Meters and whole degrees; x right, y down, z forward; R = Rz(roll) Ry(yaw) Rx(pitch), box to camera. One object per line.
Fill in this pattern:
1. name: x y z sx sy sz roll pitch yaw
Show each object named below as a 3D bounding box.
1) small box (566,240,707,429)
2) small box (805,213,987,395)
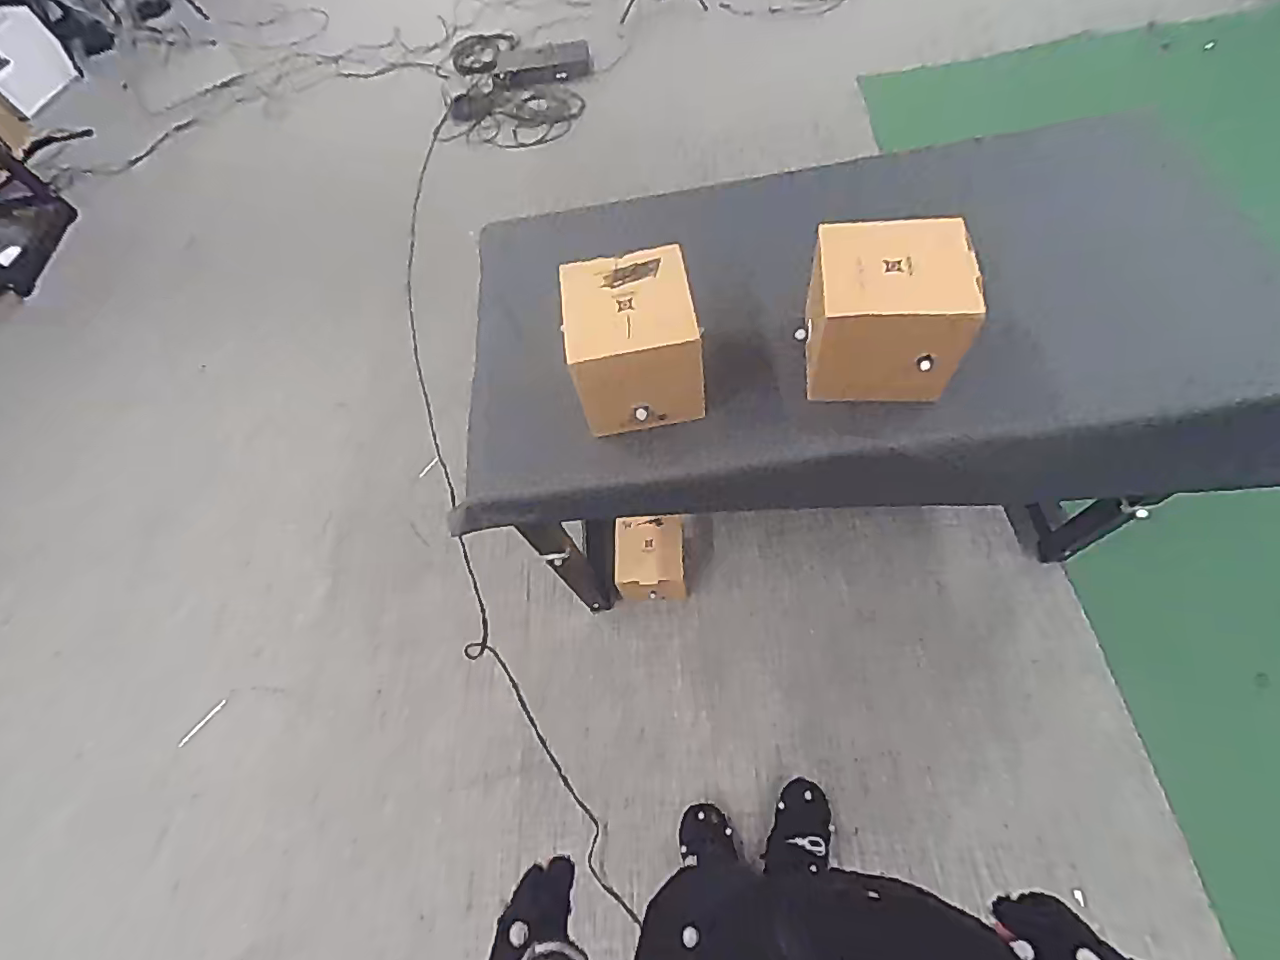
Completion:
1. small box: -0.002 -0.197 0.758 0.168 0.176 0.179 -10 62 4
2. small box: 0.325 -0.227 0.727 0.179 0.176 0.168 1 62 10
